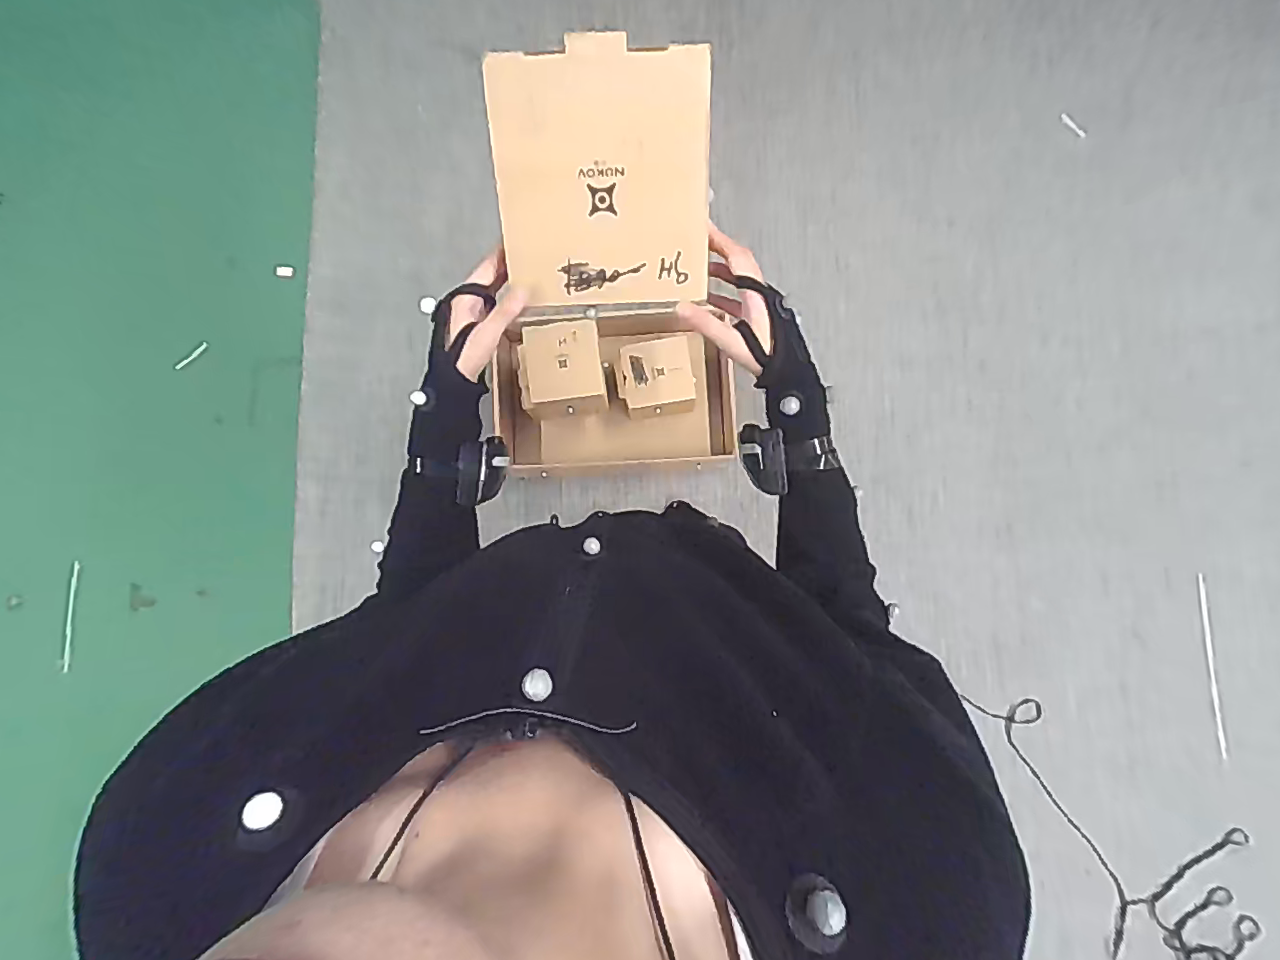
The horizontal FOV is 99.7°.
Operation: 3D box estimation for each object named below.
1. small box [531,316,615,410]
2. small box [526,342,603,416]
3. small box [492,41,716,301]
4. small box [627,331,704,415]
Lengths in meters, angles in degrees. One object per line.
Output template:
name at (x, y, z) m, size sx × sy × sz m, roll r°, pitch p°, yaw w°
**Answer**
small box at (-0.152, -0.268, 1.280) m, size 0.168 × 0.176 × 0.179 m, roll -7°, pitch 87°, yaw 0°
small box at (-0.195, -0.272, 1.445) m, size 0.179 × 0.176 × 0.168 m, roll -6°, pitch 87°, yaw 1°
small box at (-0.024, -0.263, 0.493) m, size 0.168 × 0.176 × 0.179 m, roll -1°, pitch 114°, yaw 2°
small box at (0.068, -0.276, 1.431) m, size 0.179 × 0.176 × 0.168 m, roll -9°, pitch 86°, yaw 3°
